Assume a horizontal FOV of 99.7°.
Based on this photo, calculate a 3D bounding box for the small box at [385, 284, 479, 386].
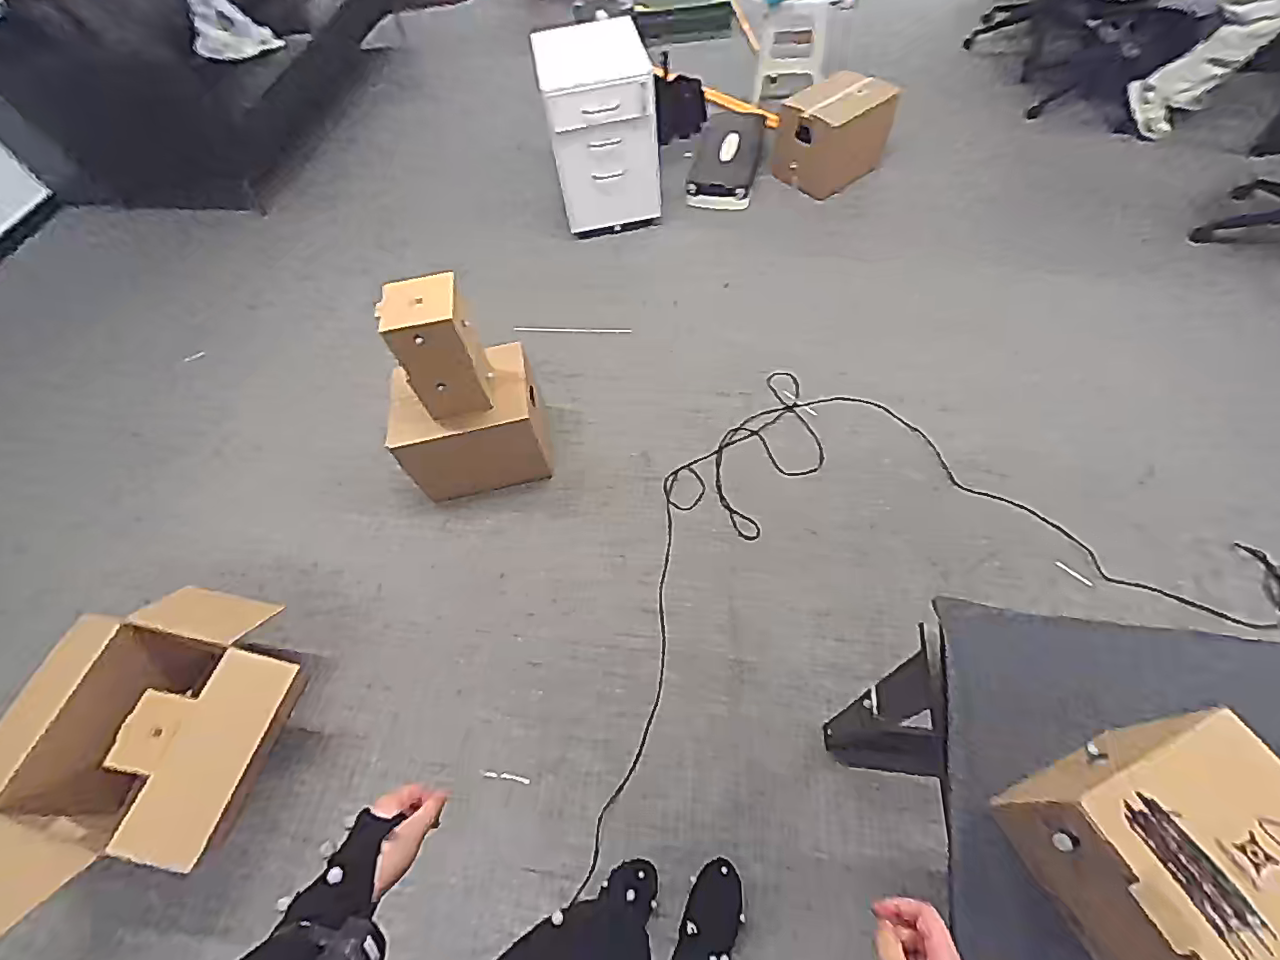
[{"bbox_3d":[-0.516,-0.363,1.368,0.179,0.176,0.168,-11,58,0],"label":"small box"}]

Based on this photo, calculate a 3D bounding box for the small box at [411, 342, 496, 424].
[{"bbox_3d":[-0.512,-0.275,1.505,0.179,0.176,0.168,-11,58,-1],"label":"small box"}]
